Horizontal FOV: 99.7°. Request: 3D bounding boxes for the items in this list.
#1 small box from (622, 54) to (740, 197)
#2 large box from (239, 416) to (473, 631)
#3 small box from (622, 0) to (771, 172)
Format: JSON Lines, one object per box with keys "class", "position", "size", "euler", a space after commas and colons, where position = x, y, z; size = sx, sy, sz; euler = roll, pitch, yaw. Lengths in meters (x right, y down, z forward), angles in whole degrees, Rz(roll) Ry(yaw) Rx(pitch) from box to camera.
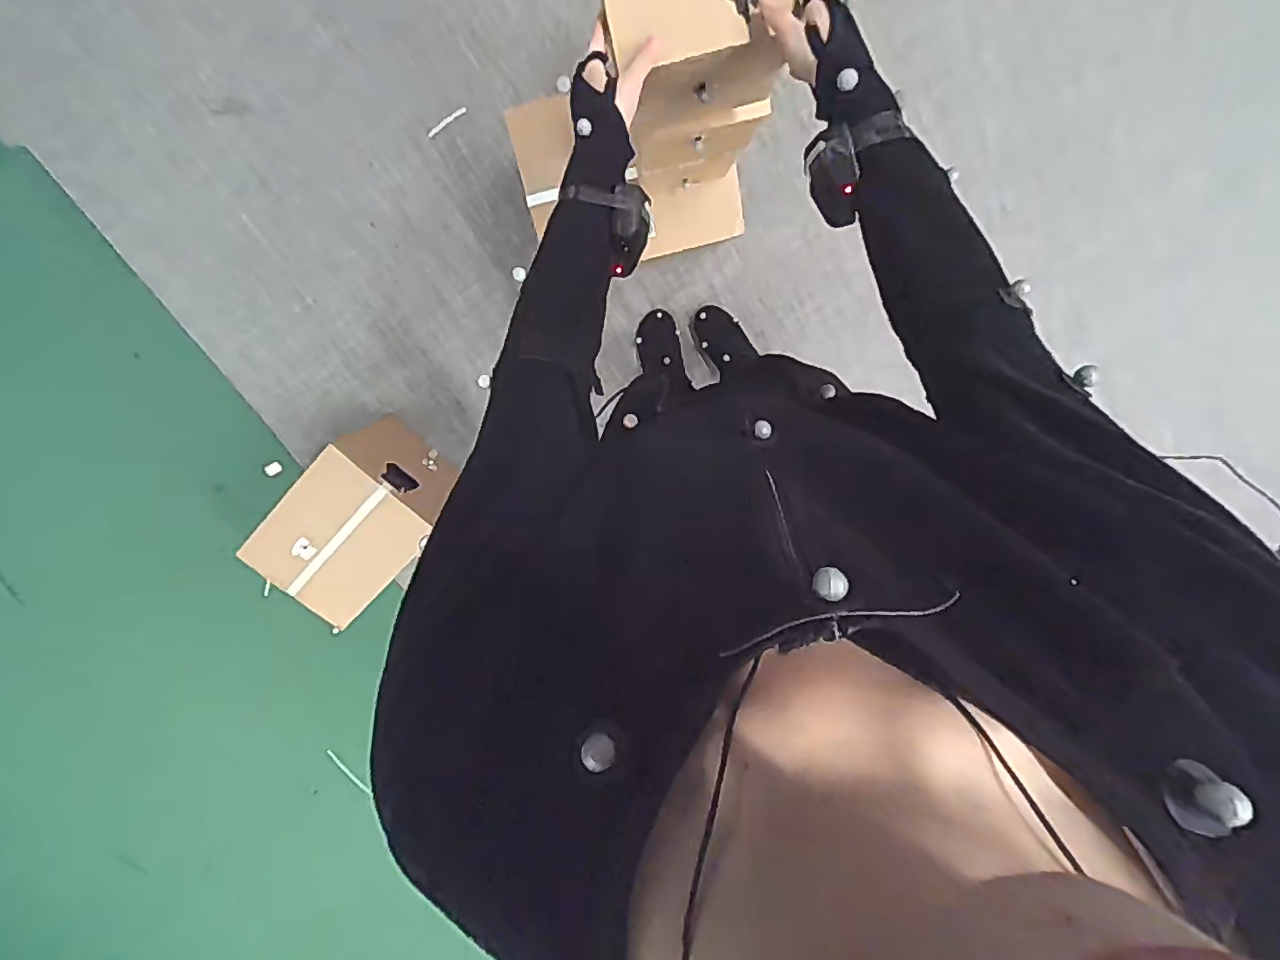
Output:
{"class": "small box", "position": [0.066, -0.609, 0.923], "size": [0.168, 0.176, 0.179], "euler": [-11, 107, 4]}
{"class": "large box", "position": [-0.717, 0.099, 1.422], "size": [0.408, 0.320, 0.320], "euler": [-43, 103, 14]}
{"class": "small box", "position": [0.074, -0.561, 0.768], "size": [0.179, 0.176, 0.168], "euler": [-10, 107, 4]}
